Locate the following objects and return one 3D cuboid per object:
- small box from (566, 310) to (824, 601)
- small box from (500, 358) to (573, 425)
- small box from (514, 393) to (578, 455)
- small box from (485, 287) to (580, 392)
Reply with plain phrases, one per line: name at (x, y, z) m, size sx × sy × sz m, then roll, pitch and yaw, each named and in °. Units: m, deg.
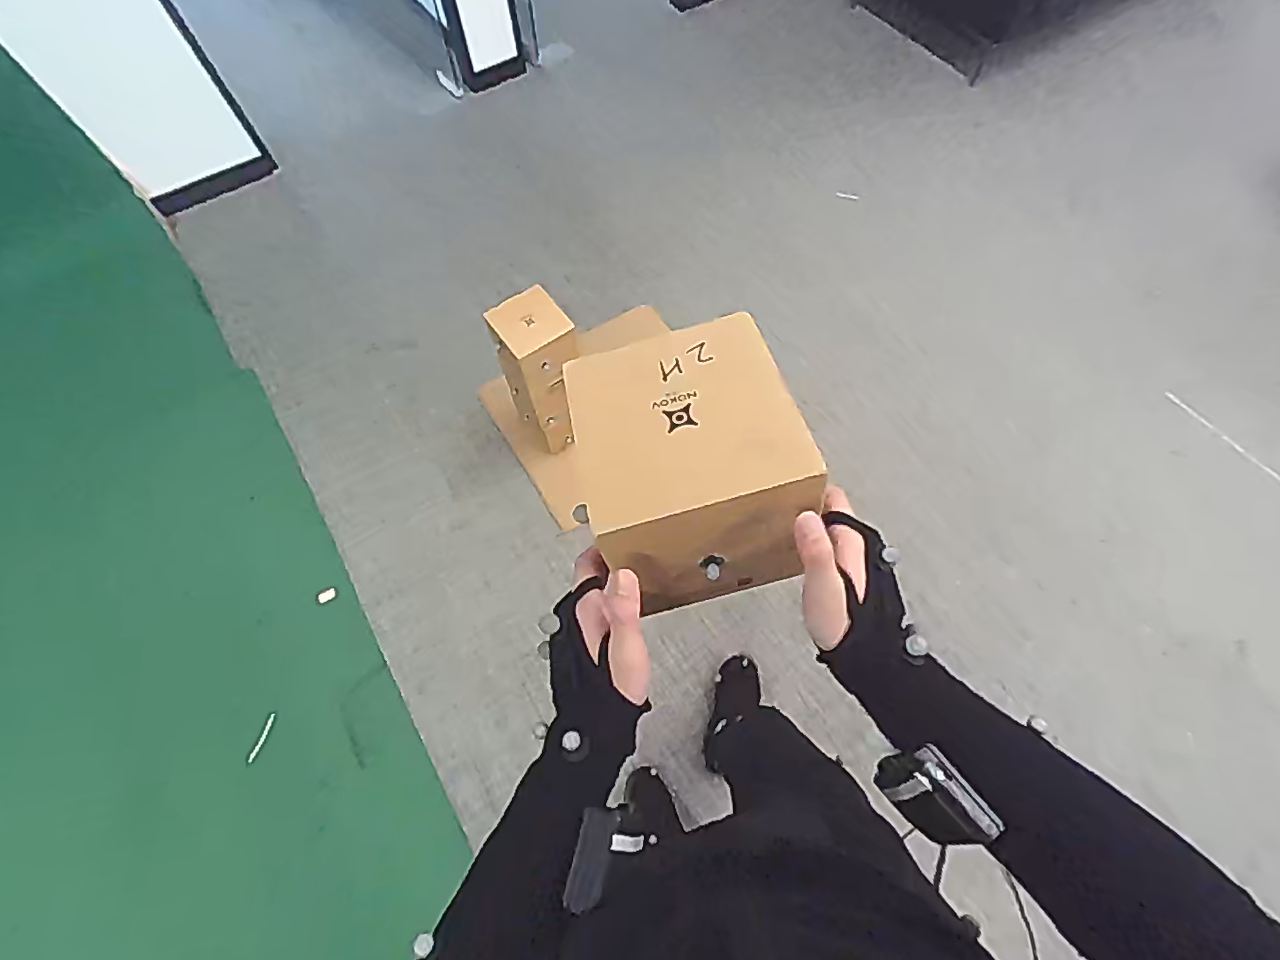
small box at (0.046, -0.010, 0.472) m, size 0.168 × 0.176 × 0.179 m, roll -15°, pitch 54°, yaw 2°
small box at (-0.267, -0.280, 1.539) m, size 0.168 × 0.176 × 0.179 m, roll -35°, pitch 69°, yaw -14°
small box at (-0.265, -0.212, 1.687) m, size 0.168 × 0.176 × 0.179 m, roll -38°, pitch 71°, yaw -15°
small box at (-0.266, -0.351, 1.393) m, size 0.168 × 0.176 × 0.179 m, roll -35°, pitch 69°, yaw -13°
